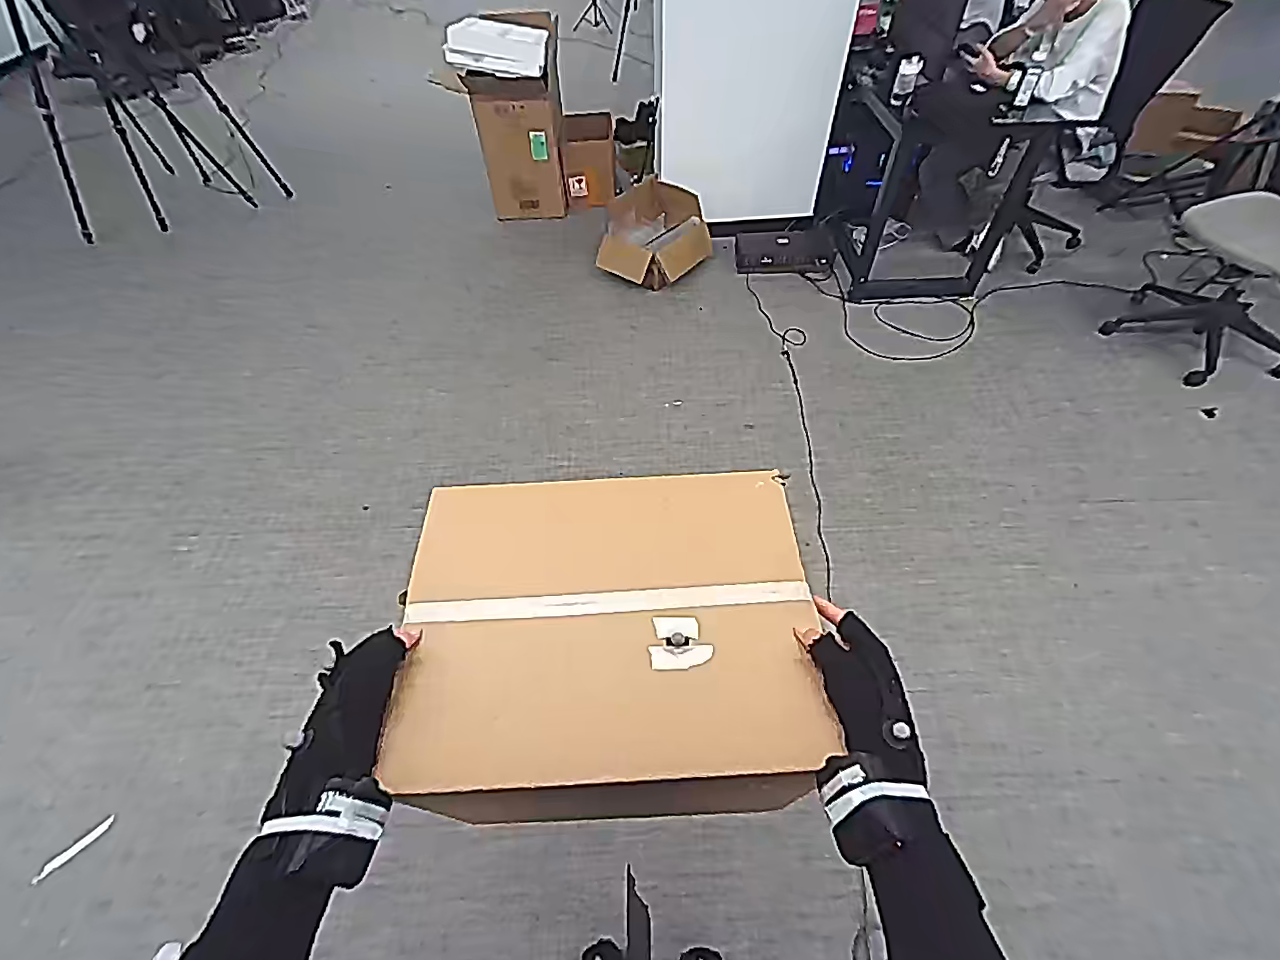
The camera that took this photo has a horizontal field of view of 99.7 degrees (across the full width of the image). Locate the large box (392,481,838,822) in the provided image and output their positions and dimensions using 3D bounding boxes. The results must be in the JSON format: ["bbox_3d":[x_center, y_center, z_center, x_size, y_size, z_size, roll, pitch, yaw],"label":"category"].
[{"bbox_3d":[-0.028,0.223,0.679,0.408,0.320,0.320,-3,54,-1],"label":"large box"}]
